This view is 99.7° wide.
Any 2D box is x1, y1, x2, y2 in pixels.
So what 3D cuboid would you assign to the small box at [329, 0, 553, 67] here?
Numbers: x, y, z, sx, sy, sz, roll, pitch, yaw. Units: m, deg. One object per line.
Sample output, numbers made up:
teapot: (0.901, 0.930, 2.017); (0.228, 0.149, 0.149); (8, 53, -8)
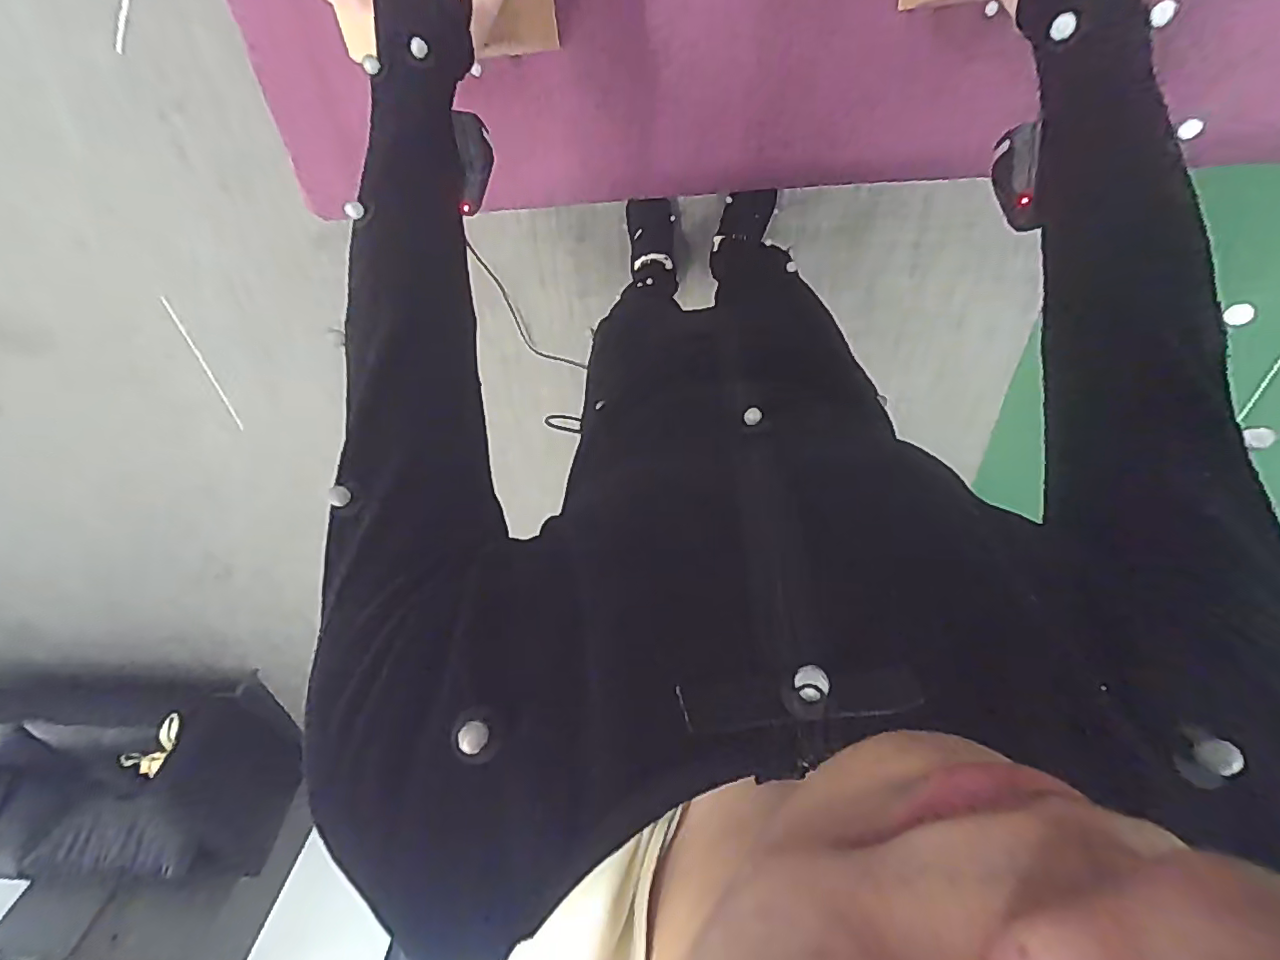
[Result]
small box: (-0.191, -0.509, 0.512); (0.168, 0.176, 0.179); (0, 127, 8)
